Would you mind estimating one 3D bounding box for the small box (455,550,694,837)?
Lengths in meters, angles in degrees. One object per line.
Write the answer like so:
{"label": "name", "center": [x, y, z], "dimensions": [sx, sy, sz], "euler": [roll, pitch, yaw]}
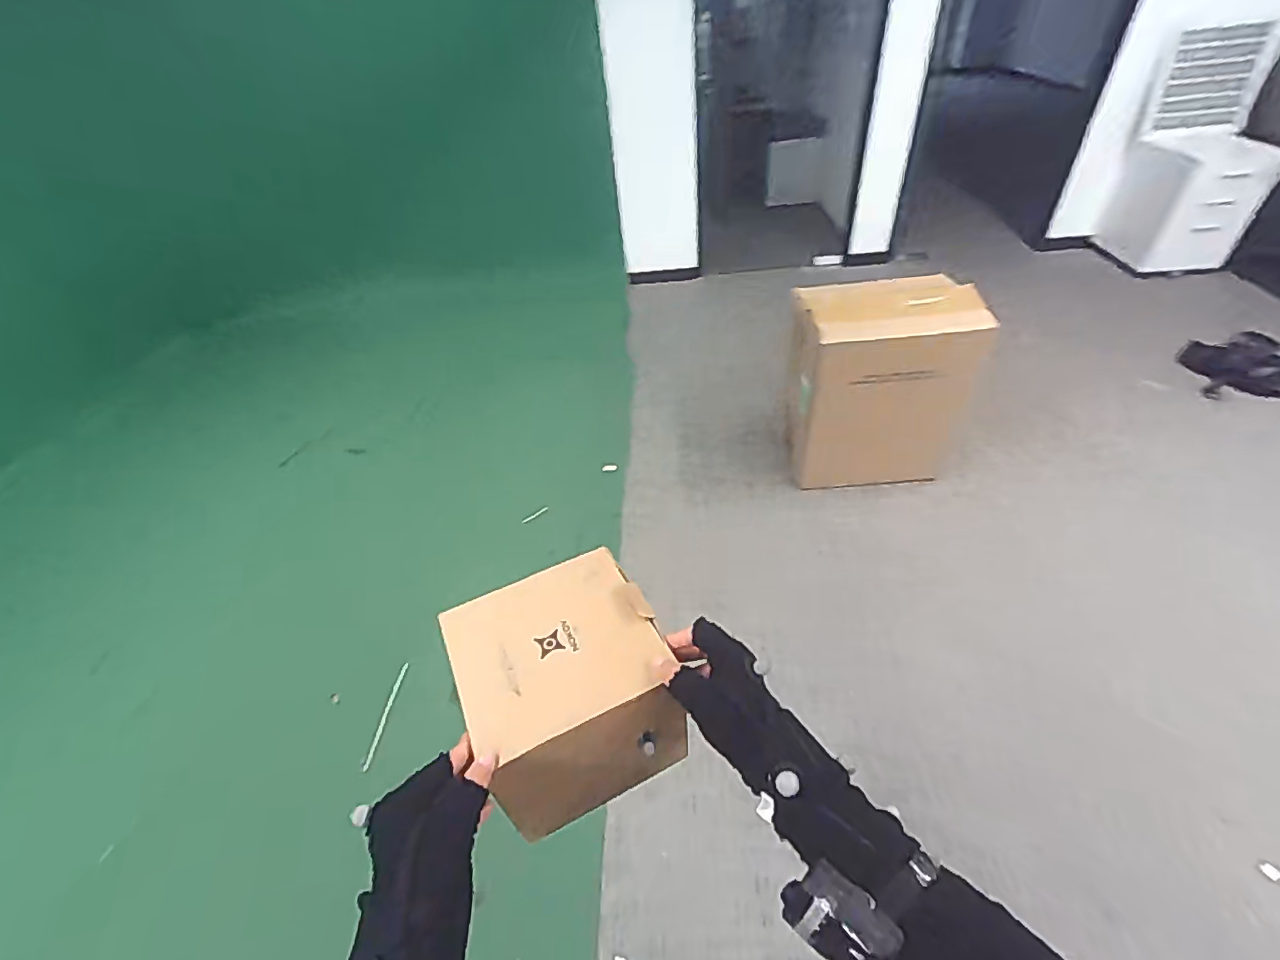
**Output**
{"label": "small box", "center": [-0.059, 0.207, 0.536], "dimensions": [0.179, 0.176, 0.168], "euler": [-22, 42, -16]}
